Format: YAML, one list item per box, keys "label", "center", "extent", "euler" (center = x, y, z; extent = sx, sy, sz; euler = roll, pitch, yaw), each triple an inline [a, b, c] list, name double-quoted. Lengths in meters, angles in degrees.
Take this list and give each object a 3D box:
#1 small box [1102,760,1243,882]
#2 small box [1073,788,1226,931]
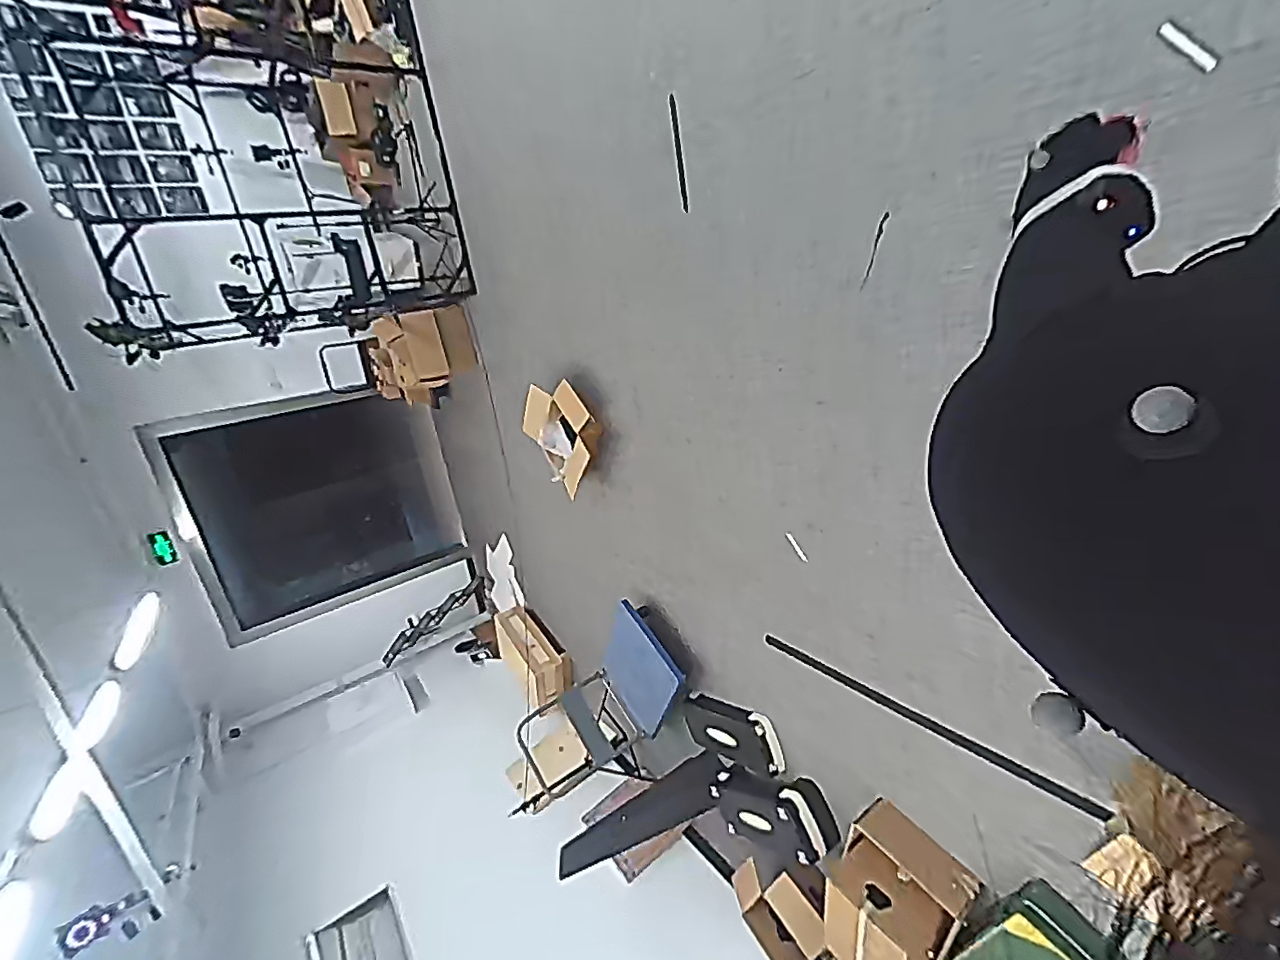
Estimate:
- label: "small box"
  center: [1.243, 0.777, 1.258]
  extent: [0.179, 0.176, 0.168]
  euler: [-38, 73, 57]
- label: "small box"
  center: [1.106, 0.814, 1.174]
  extent: [0.168, 0.176, 0.179]
  euler: [43, 140, 39]
